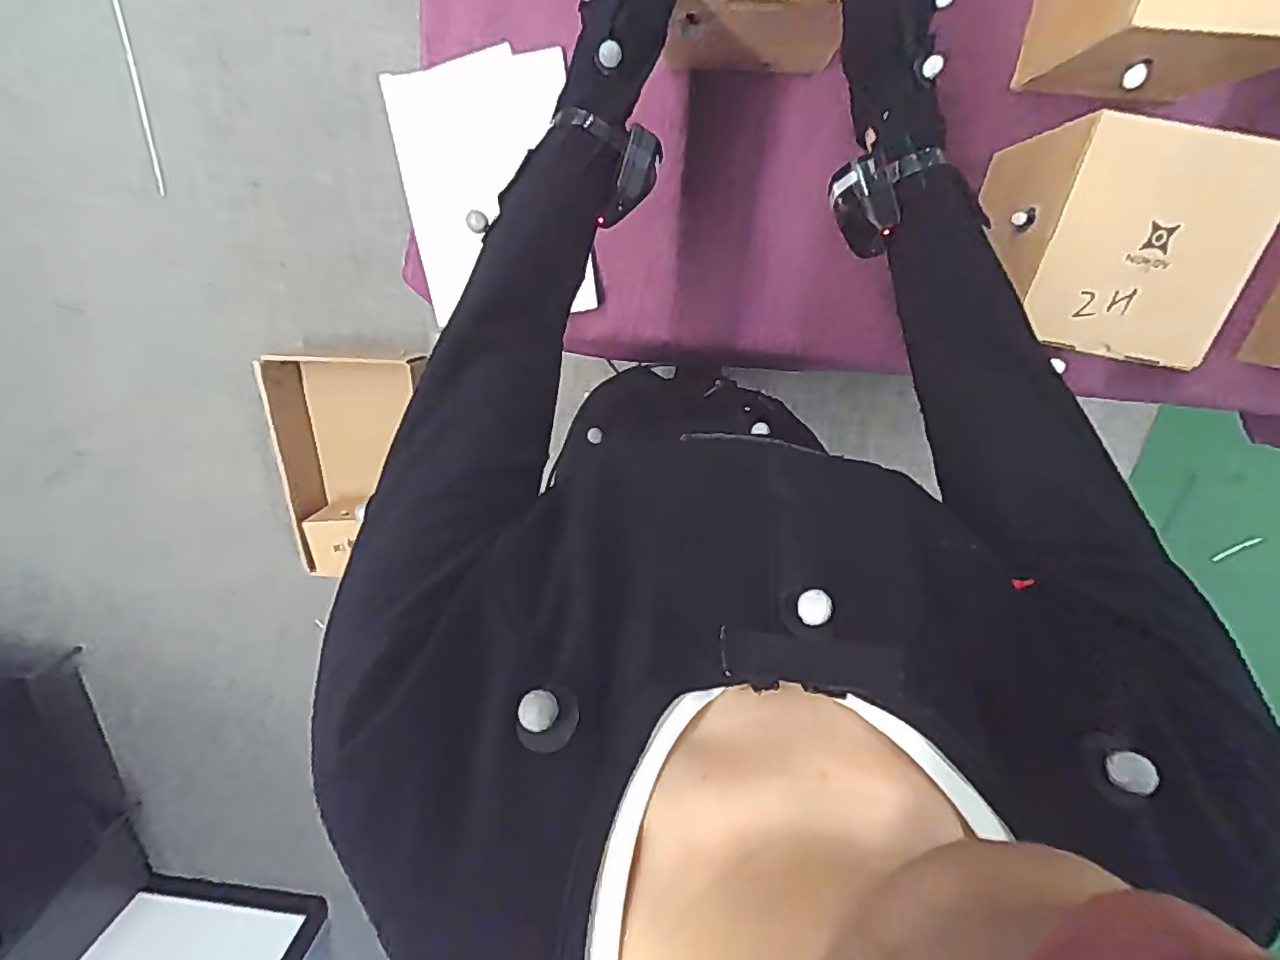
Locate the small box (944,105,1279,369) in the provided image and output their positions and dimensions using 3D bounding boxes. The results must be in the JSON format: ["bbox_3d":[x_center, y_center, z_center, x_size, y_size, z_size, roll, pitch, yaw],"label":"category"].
[{"bbox_3d":[0.428,-0.220,0.516,0.168,0.176,0.179,12,112,2],"label":"small box"}]

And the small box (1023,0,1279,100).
[{"bbox_3d":[0.454,-0.431,0.434,0.168,0.176,0.179,7,111,4],"label":"small box"}]
